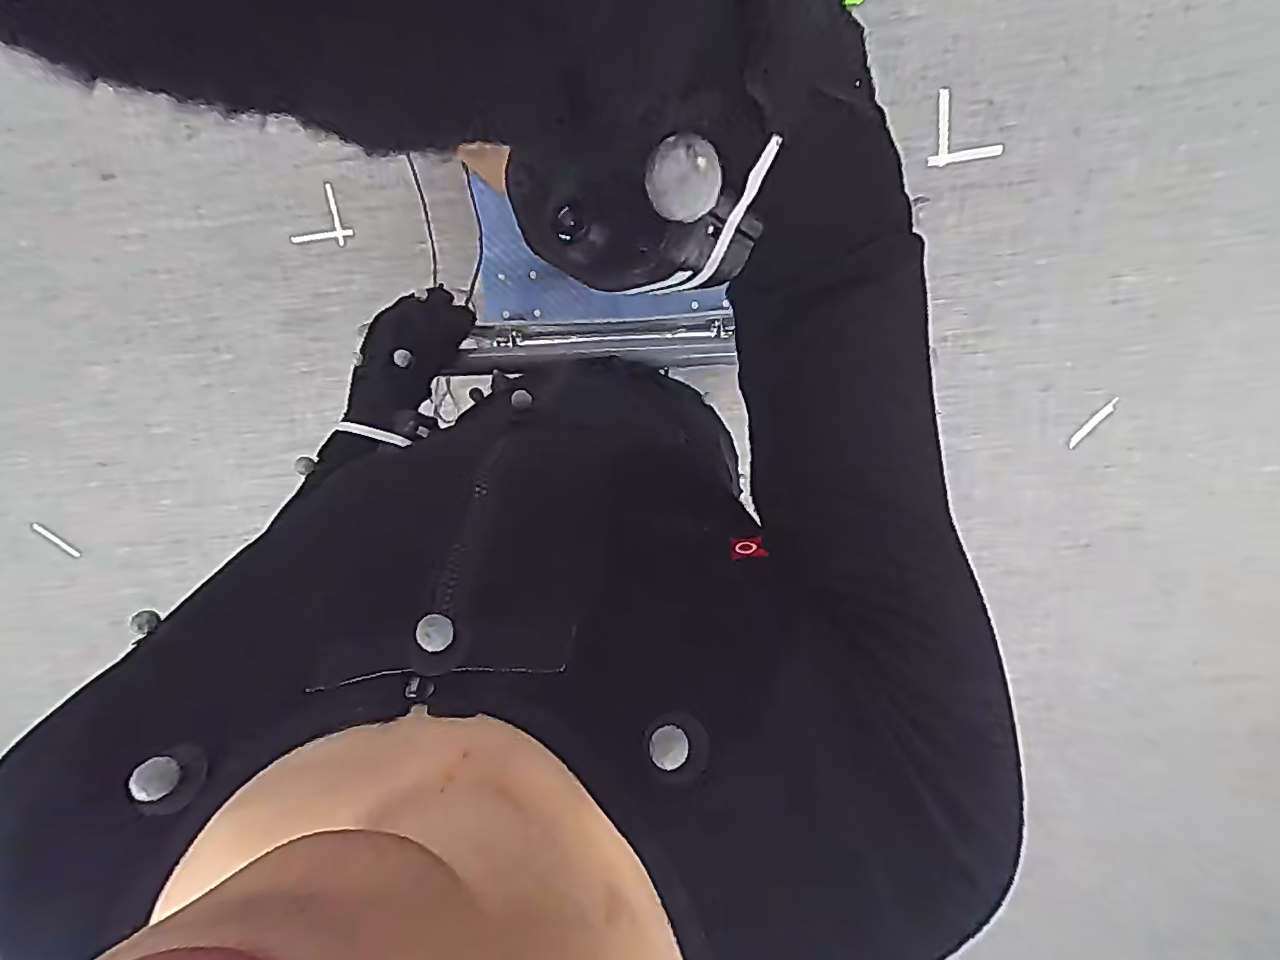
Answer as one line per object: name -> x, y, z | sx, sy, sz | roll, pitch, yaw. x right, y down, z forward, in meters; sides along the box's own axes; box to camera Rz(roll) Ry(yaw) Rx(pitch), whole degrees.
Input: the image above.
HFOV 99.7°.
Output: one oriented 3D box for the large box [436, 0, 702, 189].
large box -> -0.102, -0.719, 0.957 | 0.408, 0.320, 0.320 | -1, 107, 1
